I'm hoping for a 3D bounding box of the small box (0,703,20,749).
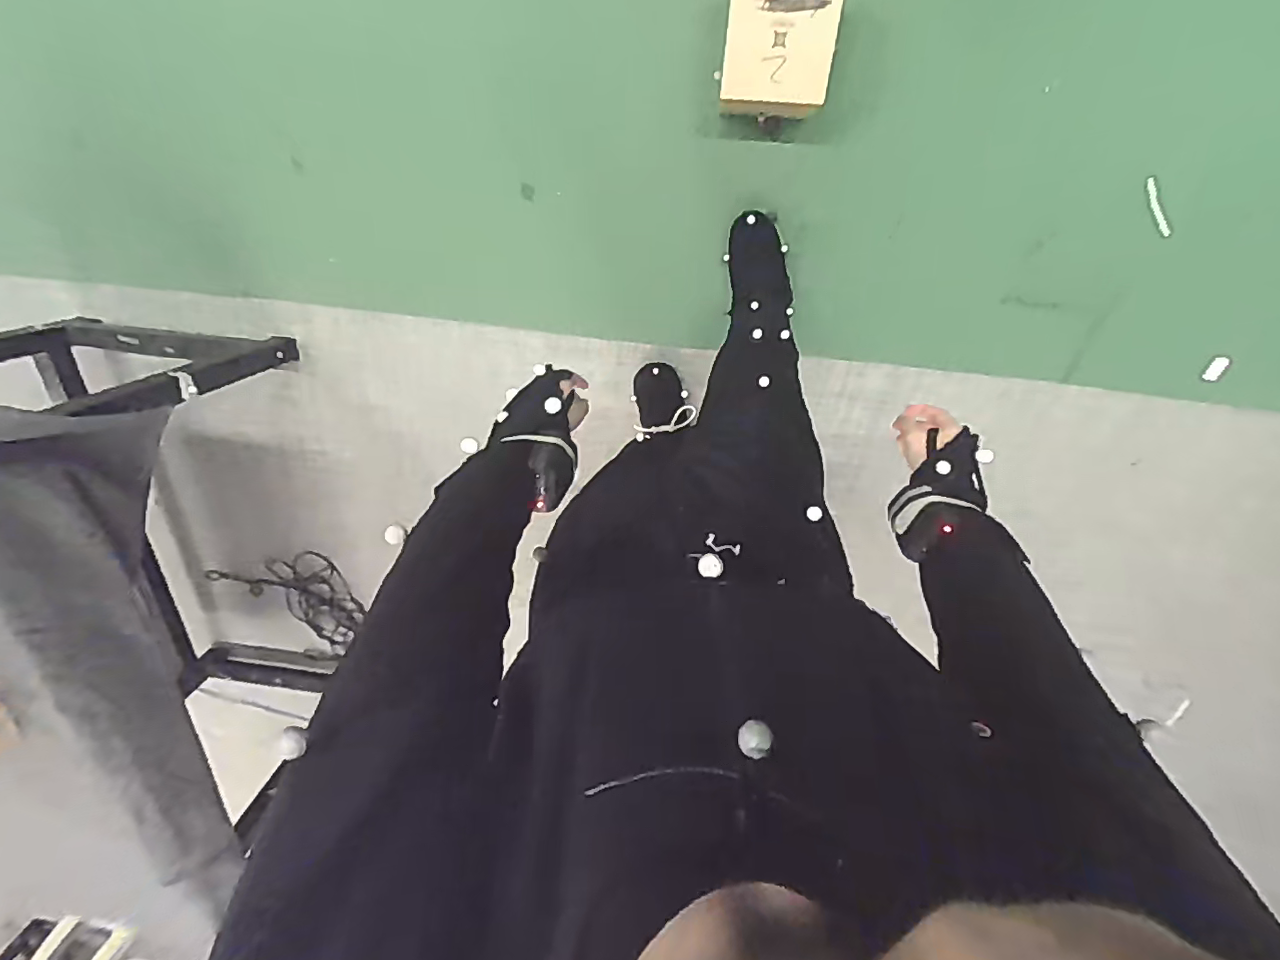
[{"bbox_3d":[-1.123,0.390,0.807,0.179,0.176,0.168,8,119,3],"label":"small box"}]
